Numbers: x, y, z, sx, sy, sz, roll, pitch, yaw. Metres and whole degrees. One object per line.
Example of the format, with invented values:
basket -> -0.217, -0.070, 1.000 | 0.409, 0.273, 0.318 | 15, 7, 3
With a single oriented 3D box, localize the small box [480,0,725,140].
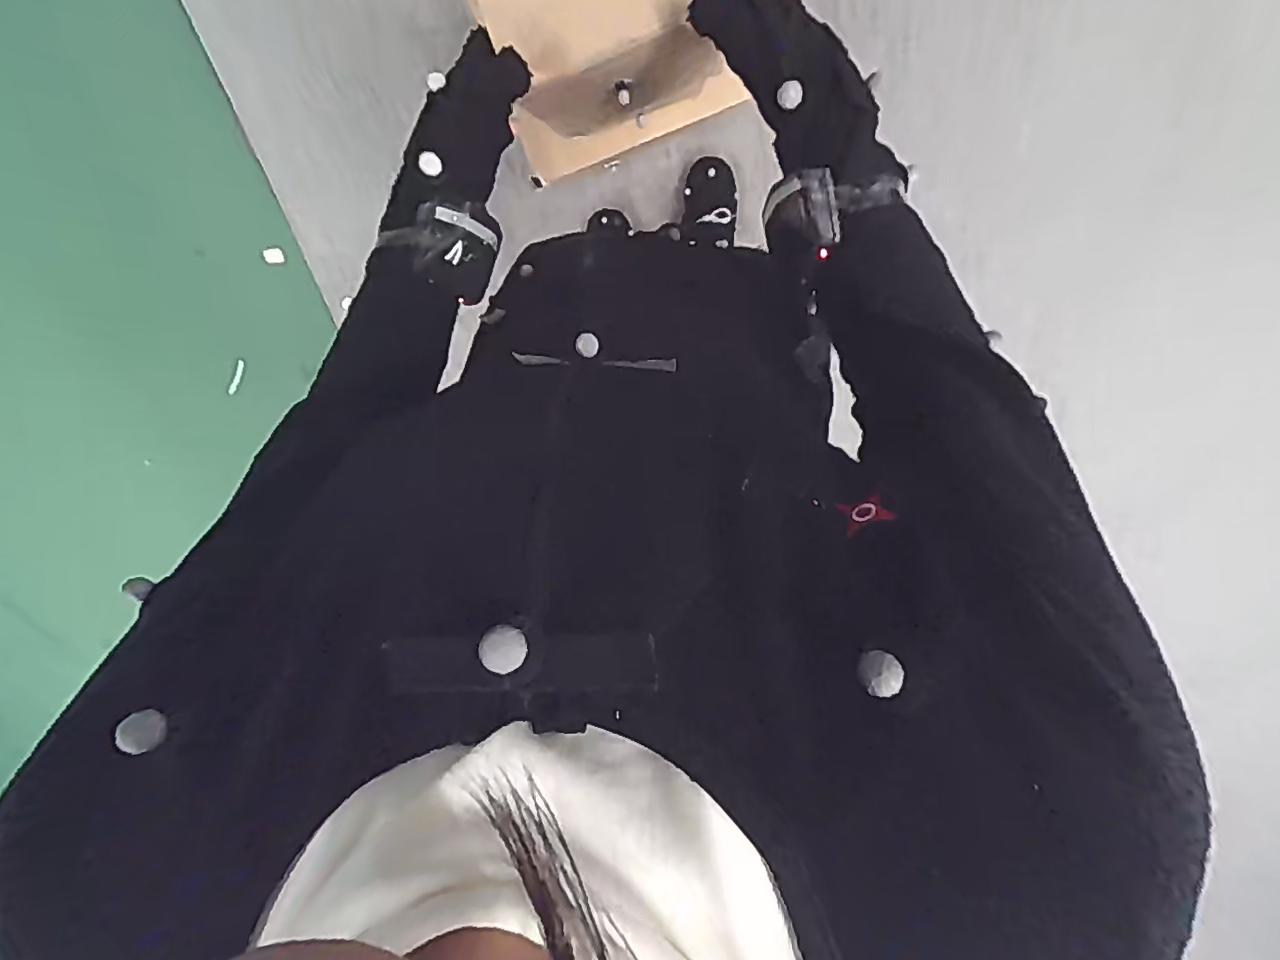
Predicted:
small box -> -0.032, -0.425, 0.462 | 0.179, 0.176, 0.168 | -14, 108, 15
